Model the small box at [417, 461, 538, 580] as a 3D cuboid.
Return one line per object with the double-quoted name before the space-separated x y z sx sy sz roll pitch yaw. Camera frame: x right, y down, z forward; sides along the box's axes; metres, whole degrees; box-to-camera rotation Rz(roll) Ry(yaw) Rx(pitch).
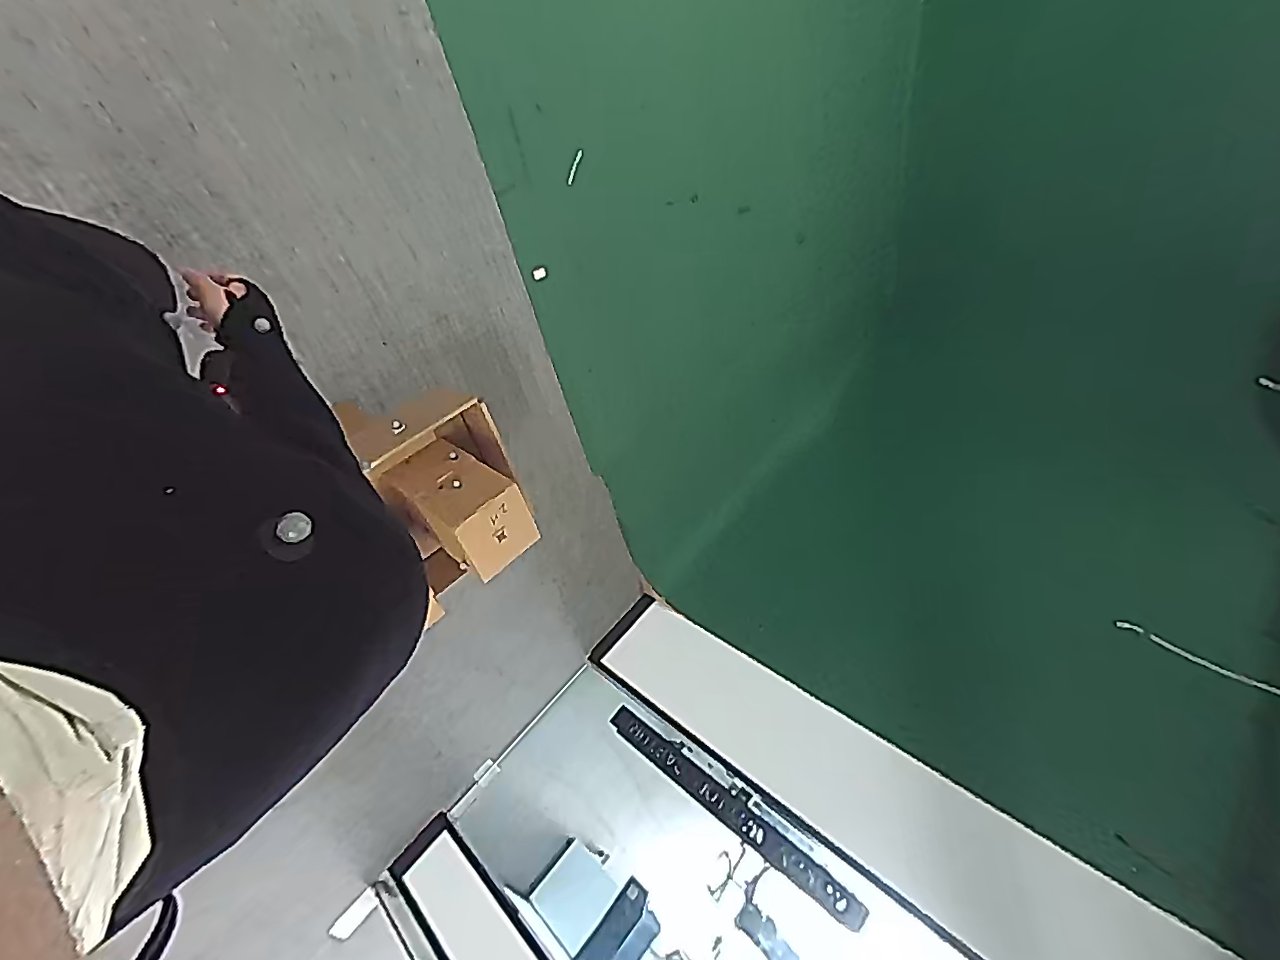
"small box" -0.364 0.084 1.219 0.168 0.176 0.179 -41 137 -29
